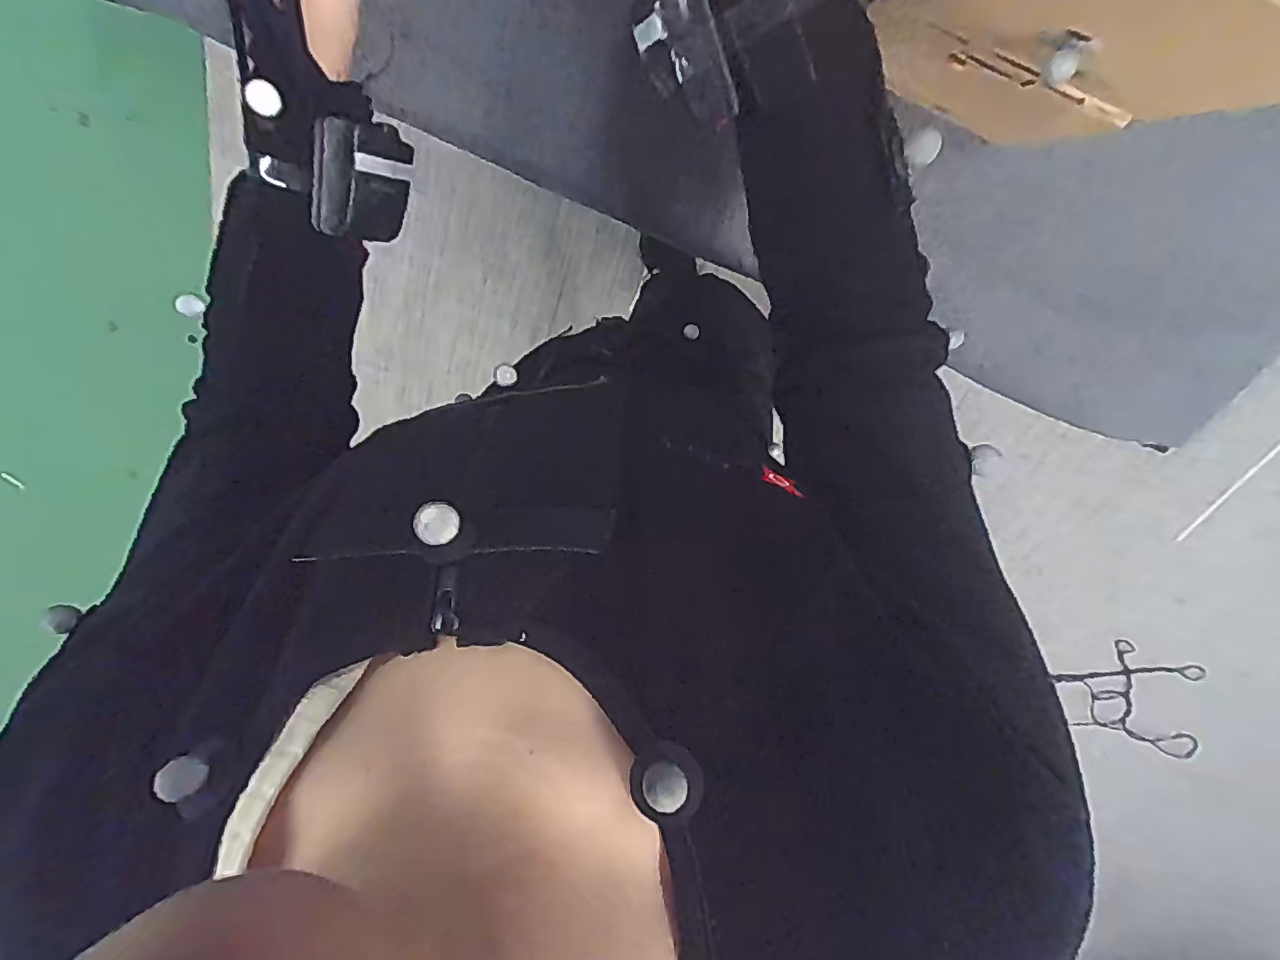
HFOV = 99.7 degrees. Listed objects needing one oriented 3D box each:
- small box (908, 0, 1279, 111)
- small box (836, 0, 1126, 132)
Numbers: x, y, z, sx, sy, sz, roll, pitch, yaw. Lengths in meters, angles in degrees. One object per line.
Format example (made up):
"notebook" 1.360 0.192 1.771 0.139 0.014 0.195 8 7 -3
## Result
"small box" 0.226 -0.260 0.184 0.168 0.176 0.179 20 120 -4
"small box" 0.241 -0.340 0.328 0.168 0.176 0.179 22 119 -6
